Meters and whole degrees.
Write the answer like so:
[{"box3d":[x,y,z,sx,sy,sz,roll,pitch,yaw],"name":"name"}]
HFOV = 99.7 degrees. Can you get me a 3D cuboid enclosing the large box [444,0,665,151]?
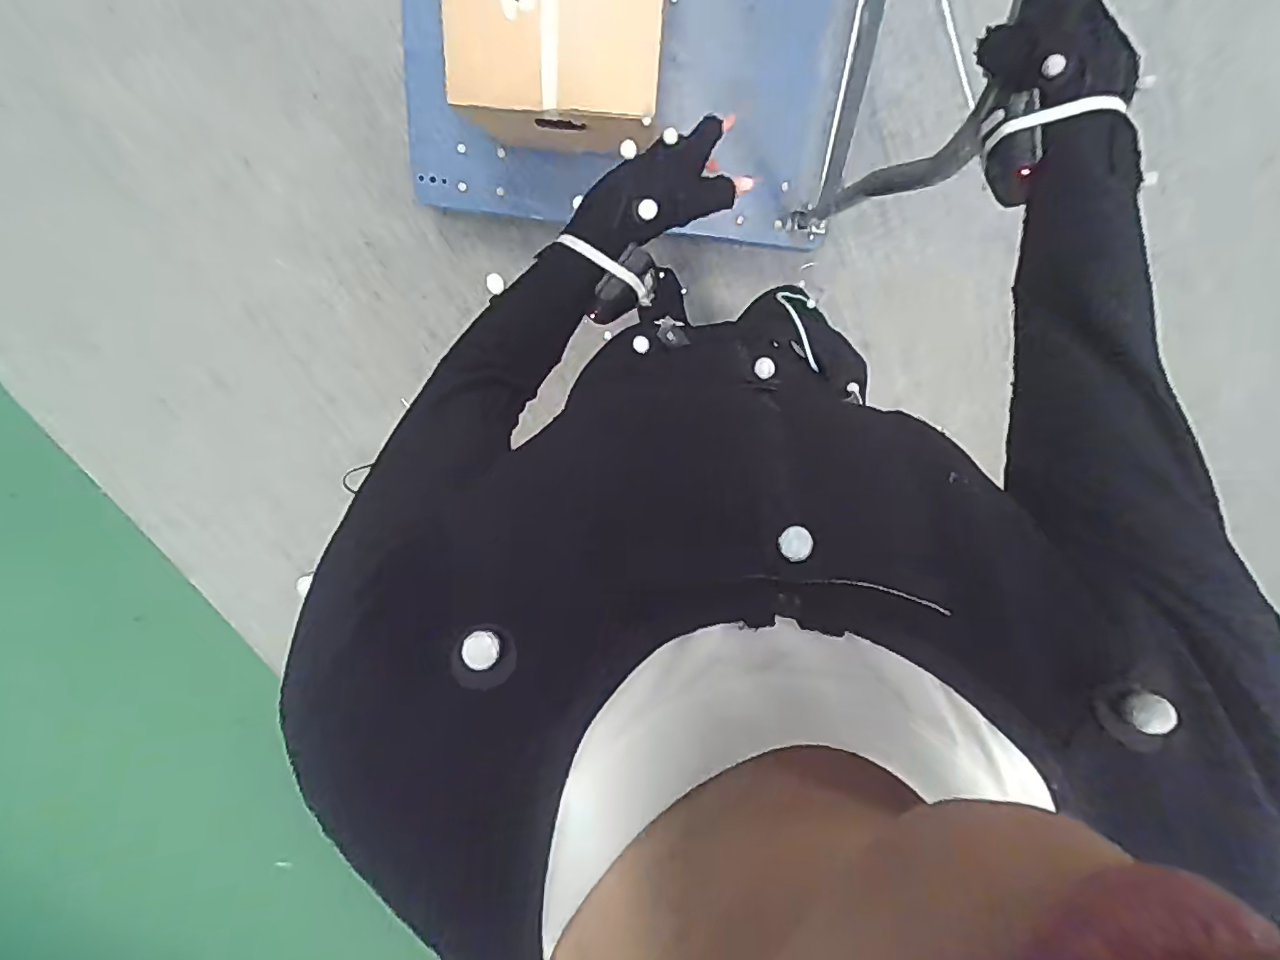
[{"box3d":[-0.115,-0.794,0.870,0.320,0.320,0.408,5,113,2],"name":"large box"}]
